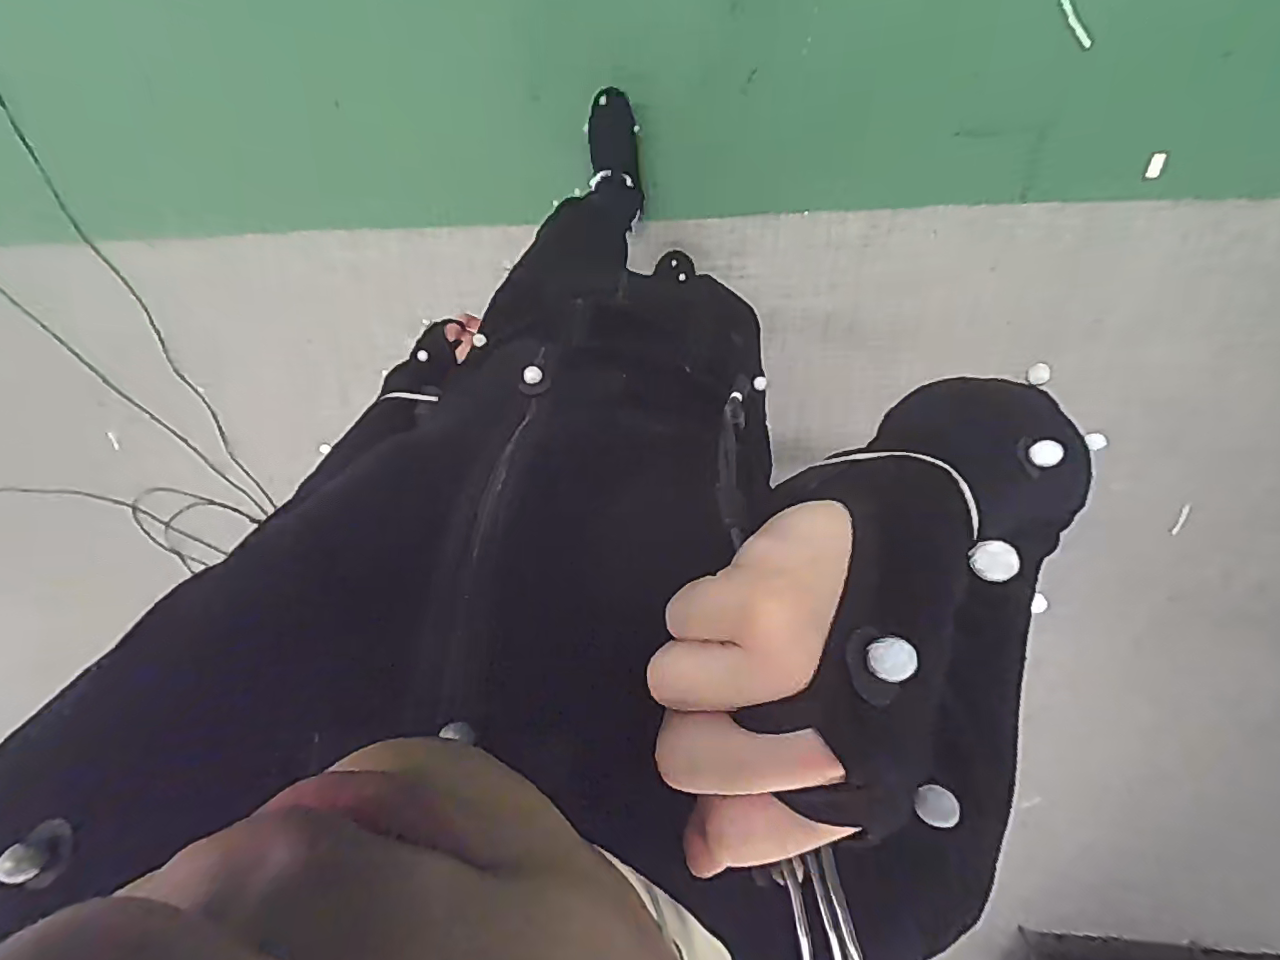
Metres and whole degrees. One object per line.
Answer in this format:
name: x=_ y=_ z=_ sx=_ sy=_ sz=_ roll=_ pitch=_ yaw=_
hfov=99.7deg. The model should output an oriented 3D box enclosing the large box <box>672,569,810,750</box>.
large box: x=0.277 y=0.530 z=1.620 sx=0.320 sy=0.320 sz=0.408 roll=9 pitch=118 yaw=0
